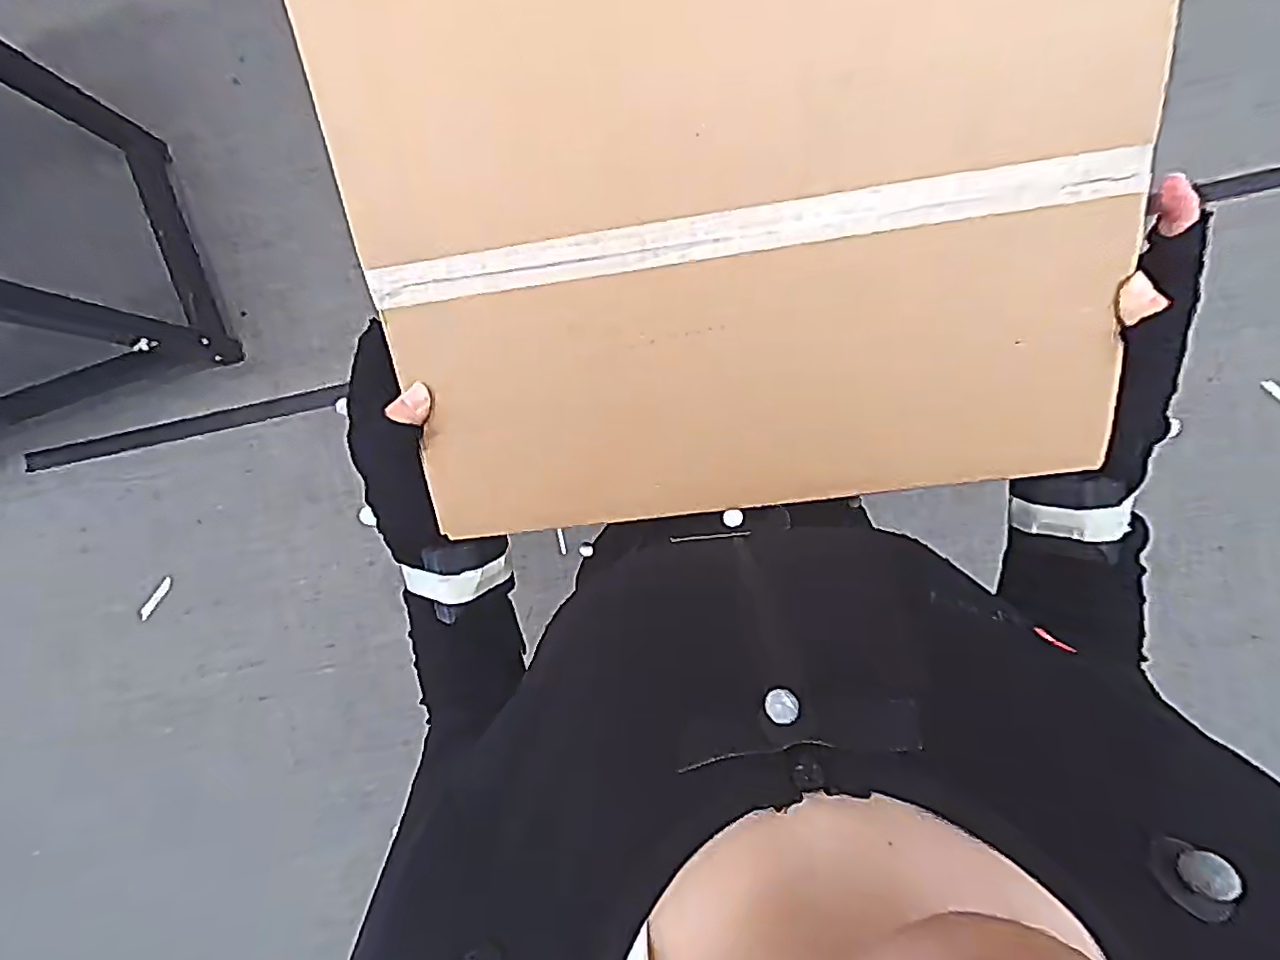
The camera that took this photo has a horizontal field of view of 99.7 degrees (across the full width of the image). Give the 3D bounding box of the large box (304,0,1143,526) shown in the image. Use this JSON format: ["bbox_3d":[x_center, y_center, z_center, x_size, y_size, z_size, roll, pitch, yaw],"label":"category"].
[{"bbox_3d":[0.053,-0.186,0.435,0.408,0.320,0.320,-7,111,4],"label":"large box"}]
